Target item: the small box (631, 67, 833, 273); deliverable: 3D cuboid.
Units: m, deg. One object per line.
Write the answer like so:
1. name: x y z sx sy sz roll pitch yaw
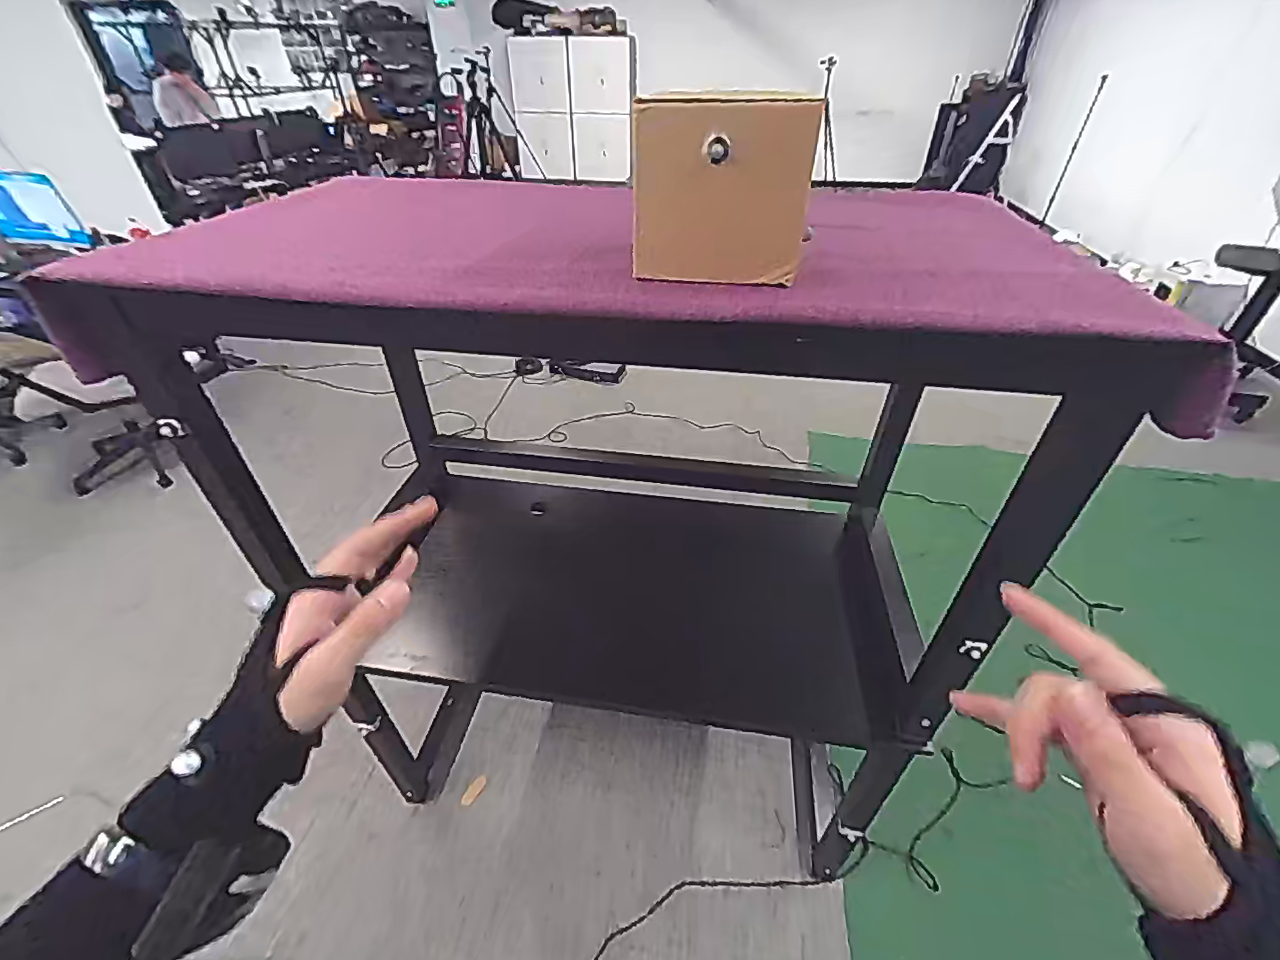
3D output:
1. small box: 0.091 -0.329 0.572 0.179 0.176 0.168 8 39 8
